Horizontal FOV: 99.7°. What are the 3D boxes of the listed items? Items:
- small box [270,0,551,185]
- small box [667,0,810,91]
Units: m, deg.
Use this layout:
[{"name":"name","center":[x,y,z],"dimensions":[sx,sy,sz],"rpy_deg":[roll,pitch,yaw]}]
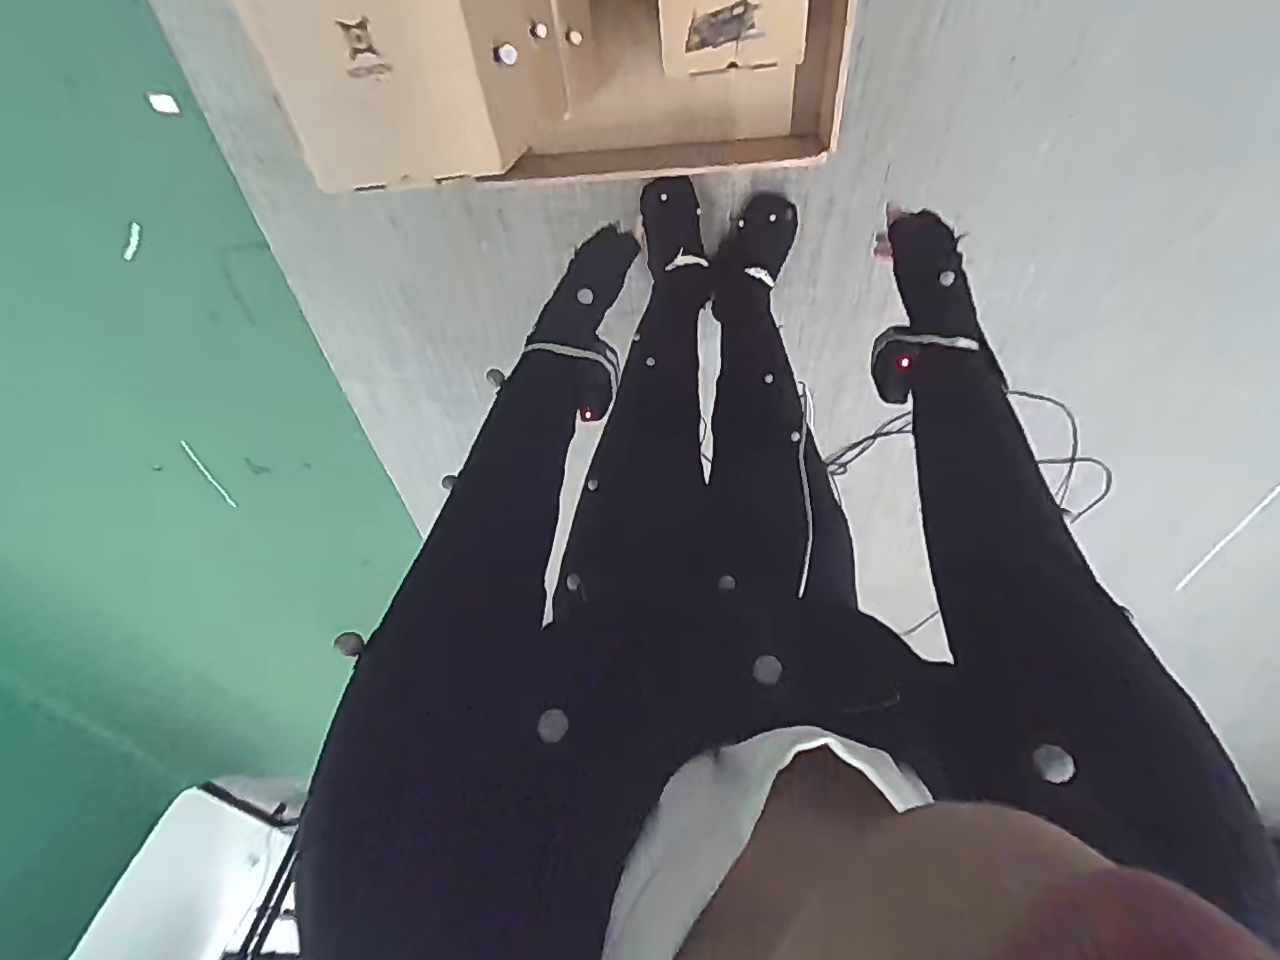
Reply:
[{"name":"small box","center":[-0.186,-0.386,0.482],"dimensions":[0.168,0.176,0.179],"rpy_deg":[-2,131,7]},{"name":"small box","center":[0.122,-0.606,0.675],"dimensions":[0.168,0.176,0.179],"rpy_deg":[1,131,6]}]
